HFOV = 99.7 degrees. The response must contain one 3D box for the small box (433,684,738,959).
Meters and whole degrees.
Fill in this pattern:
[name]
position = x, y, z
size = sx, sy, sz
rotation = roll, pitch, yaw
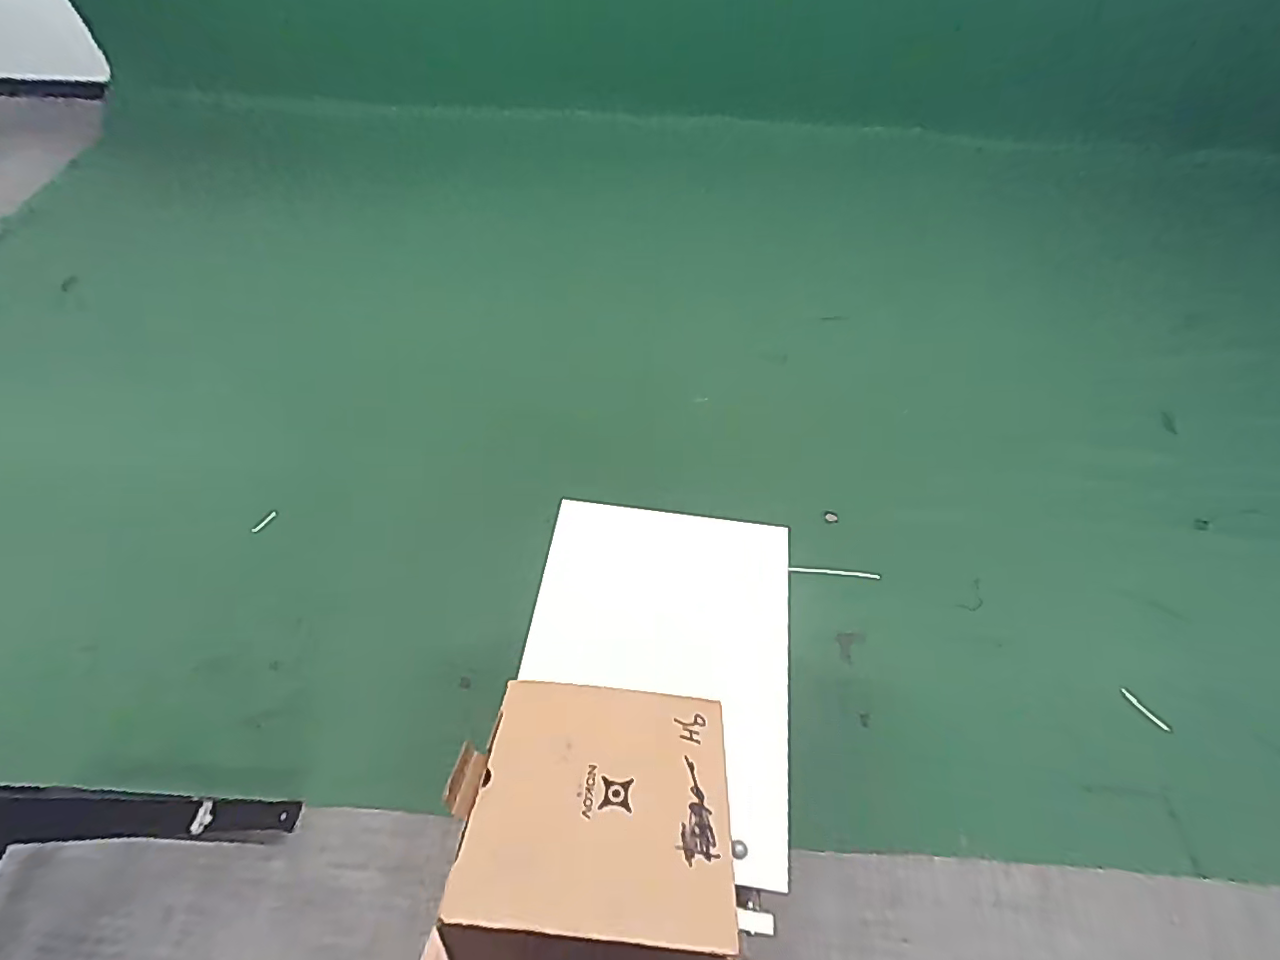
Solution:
[small box]
position = -0.030, 0.282, 0.408
size = 0.179, 0.176, 0.168
rotation = 5, 32, 1
